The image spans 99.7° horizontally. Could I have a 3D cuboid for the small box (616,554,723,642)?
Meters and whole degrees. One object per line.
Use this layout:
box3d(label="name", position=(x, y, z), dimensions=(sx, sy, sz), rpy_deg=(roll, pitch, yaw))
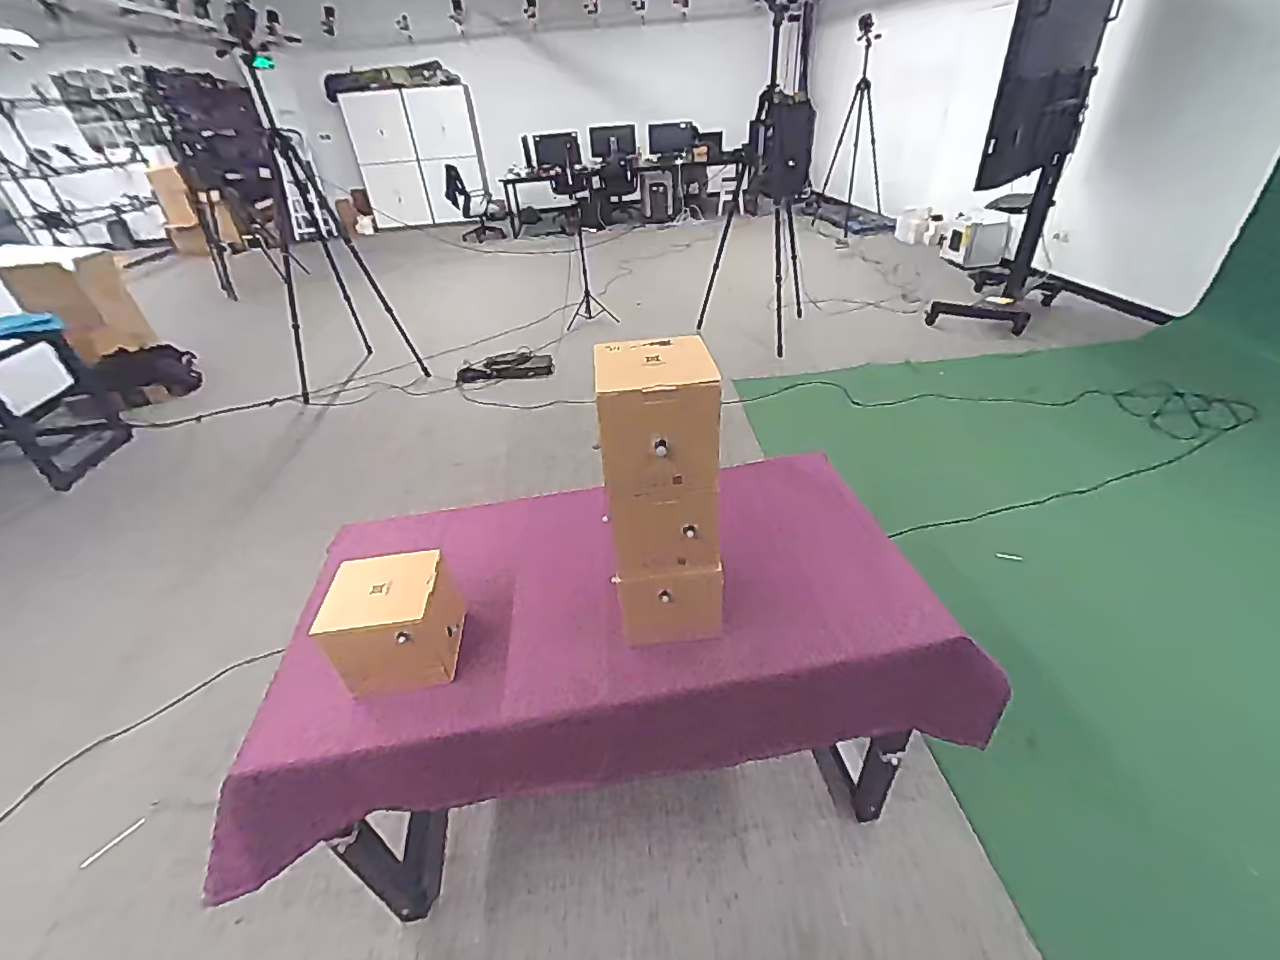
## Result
box3d(label="small box", position=(0.052, 0.177, 0.984), dimensions=(0.179, 0.176, 0.168), rpy_deg=(-6, 35, 0))

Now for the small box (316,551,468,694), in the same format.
box3d(label="small box", position=(-0.419, 0.251, 0.949), dimensions=(0.179, 0.176, 0.168), rpy_deg=(-7, 35, -4))

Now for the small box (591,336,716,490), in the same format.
box3d(label="small box", position=(0.020, -0.096, 0.804), dimensions=(0.168, 0.176, 0.179), rpy_deg=(-6, 36, -1))

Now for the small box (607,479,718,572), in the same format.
box3d(label="small box", position=(0.037, 0.039, 0.898), dimensions=(0.168, 0.176, 0.179), rpy_deg=(-5, 34, 0))
